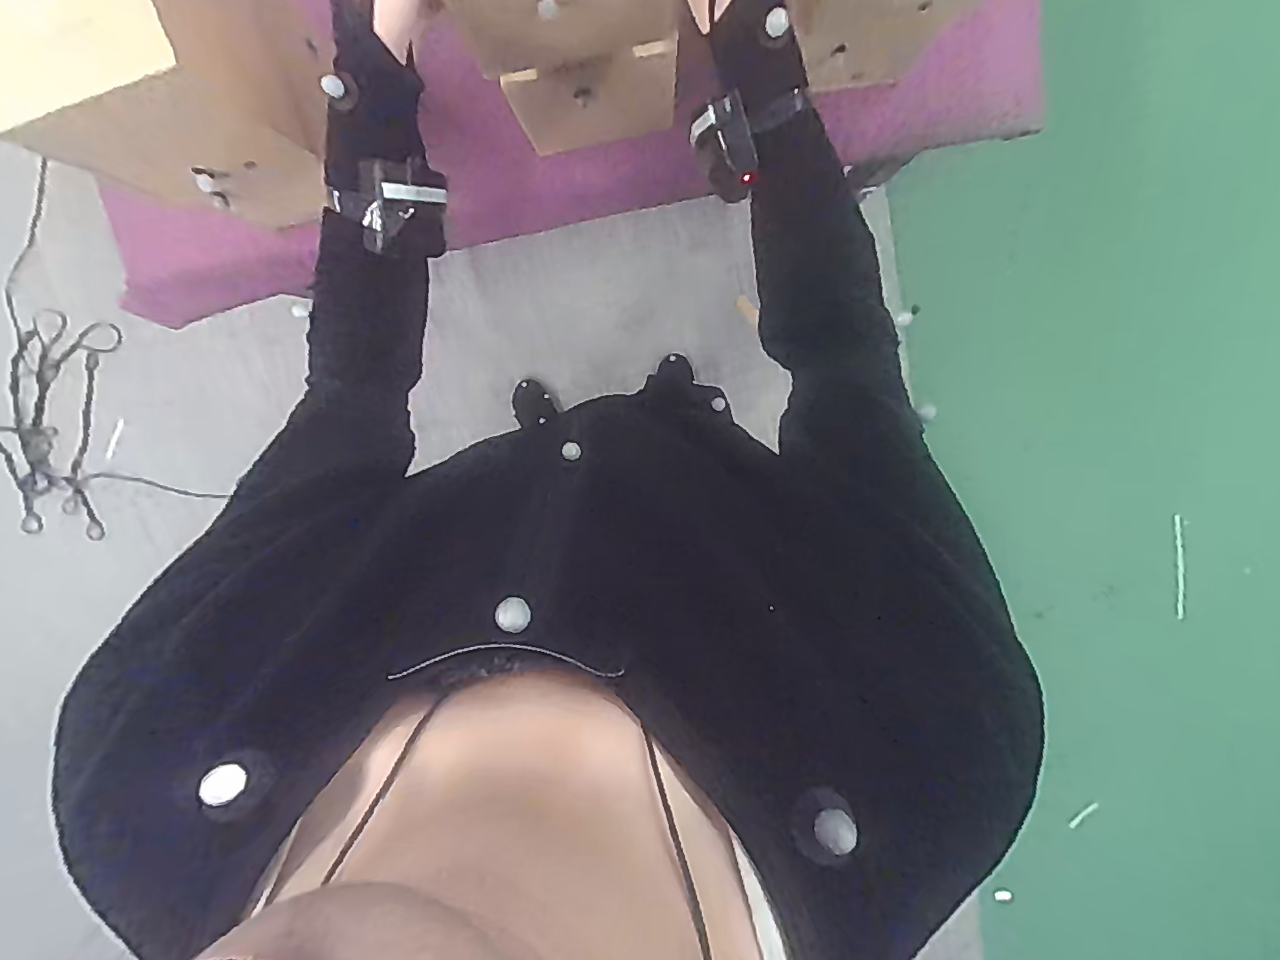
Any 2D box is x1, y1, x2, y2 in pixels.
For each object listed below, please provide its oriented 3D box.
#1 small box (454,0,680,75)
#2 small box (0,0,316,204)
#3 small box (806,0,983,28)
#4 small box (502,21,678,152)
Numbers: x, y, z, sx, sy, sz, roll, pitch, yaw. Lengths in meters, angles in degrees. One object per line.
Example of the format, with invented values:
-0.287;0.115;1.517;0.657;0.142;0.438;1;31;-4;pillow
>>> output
-0.064;-0.426;0.381;0.179;0.176;0.168;-11;105;2;small box
-0.422;-0.369;0.458;0.168;0.176;0.179;-14;99;5;small box
0.223;-0.489;0.410;0.168;0.176;0.179;-8;101;4;small box
-0.056;-0.487;0.588;0.179;0.176;0.168;-9;100;3;small box
